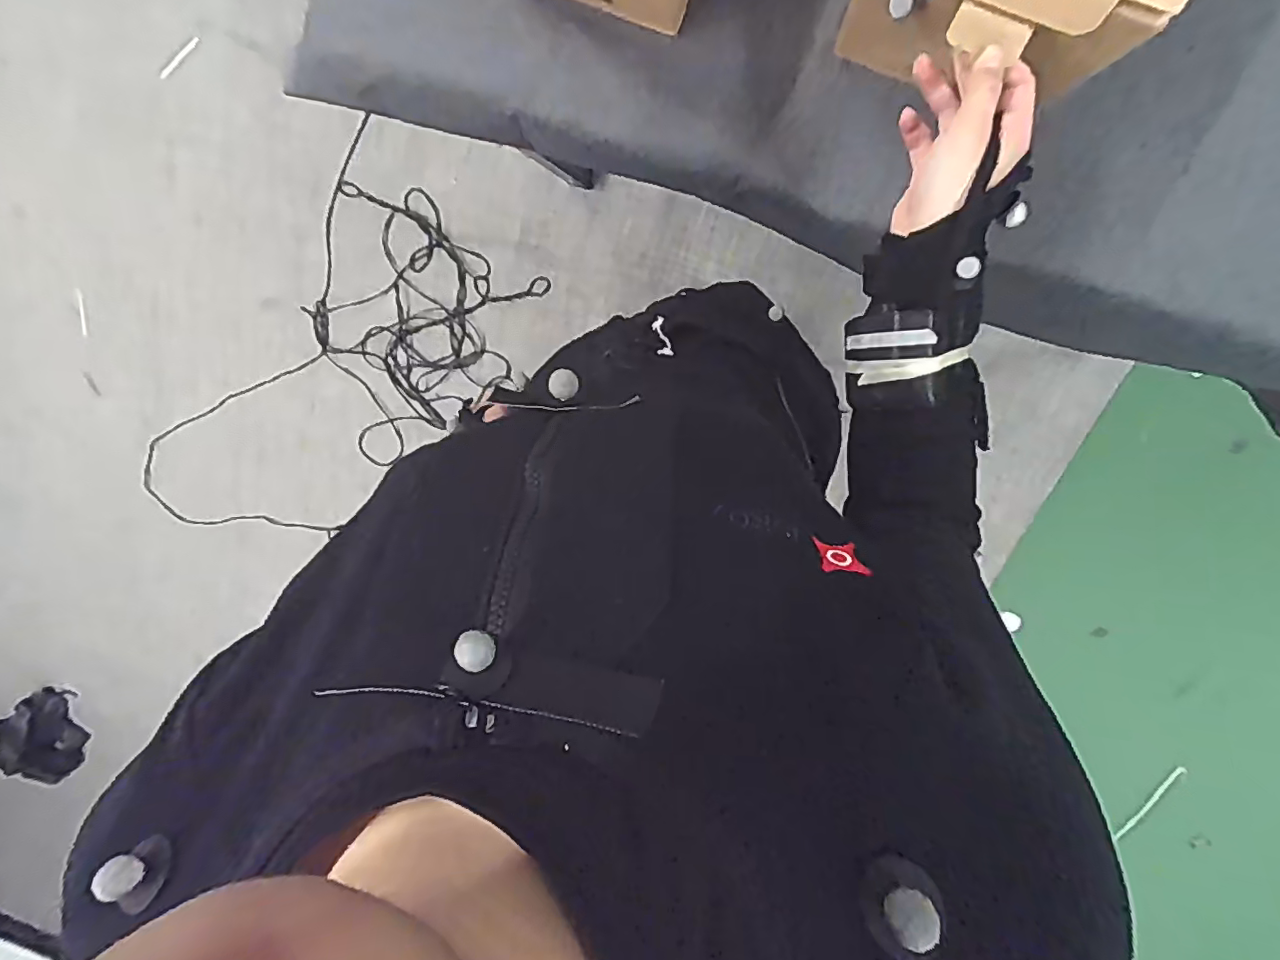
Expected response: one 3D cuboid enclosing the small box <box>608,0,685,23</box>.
[{"bbox_3d":[-0.026,-0.459,0.357,0.168,0.176,0.179,21,109,0],"label":"small box"}]
